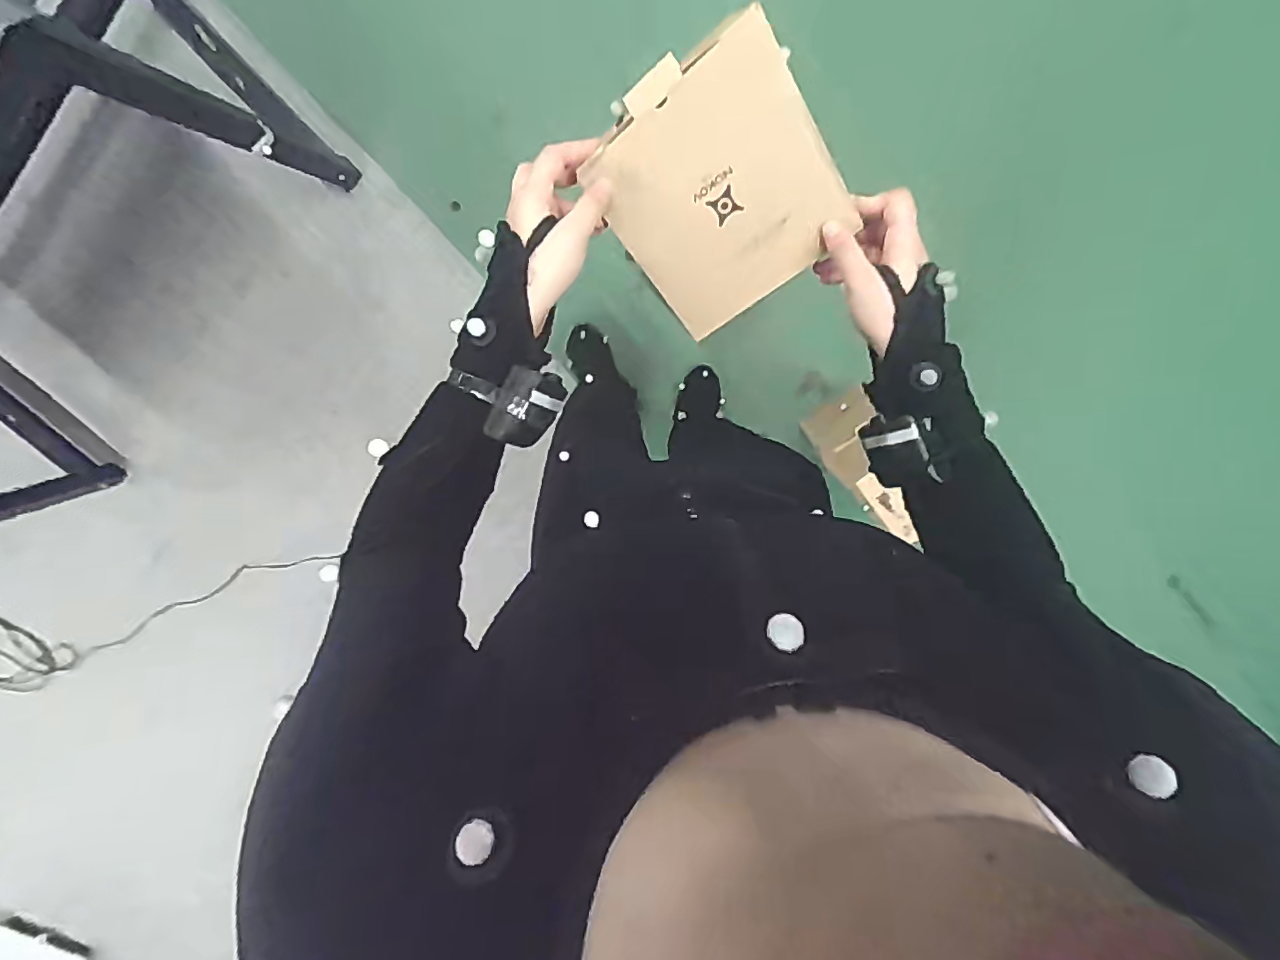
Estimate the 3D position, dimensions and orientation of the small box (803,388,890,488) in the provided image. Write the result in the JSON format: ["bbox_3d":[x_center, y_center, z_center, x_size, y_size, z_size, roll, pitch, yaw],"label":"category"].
[{"bbox_3d":[0.525,-0.109,1.346,0.179,0.176,0.168,-33,103,11],"label":"small box"}]

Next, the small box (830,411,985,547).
[{"bbox_3d":[0.499,-0.010,1.033,0.179,0.176,0.168,-37,103,12],"label":"small box"}]

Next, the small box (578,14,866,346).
[{"bbox_3d":[0.068,-0.262,0.487,0.168,0.176,0.179,-31,121,24],"label":"small box"}]
